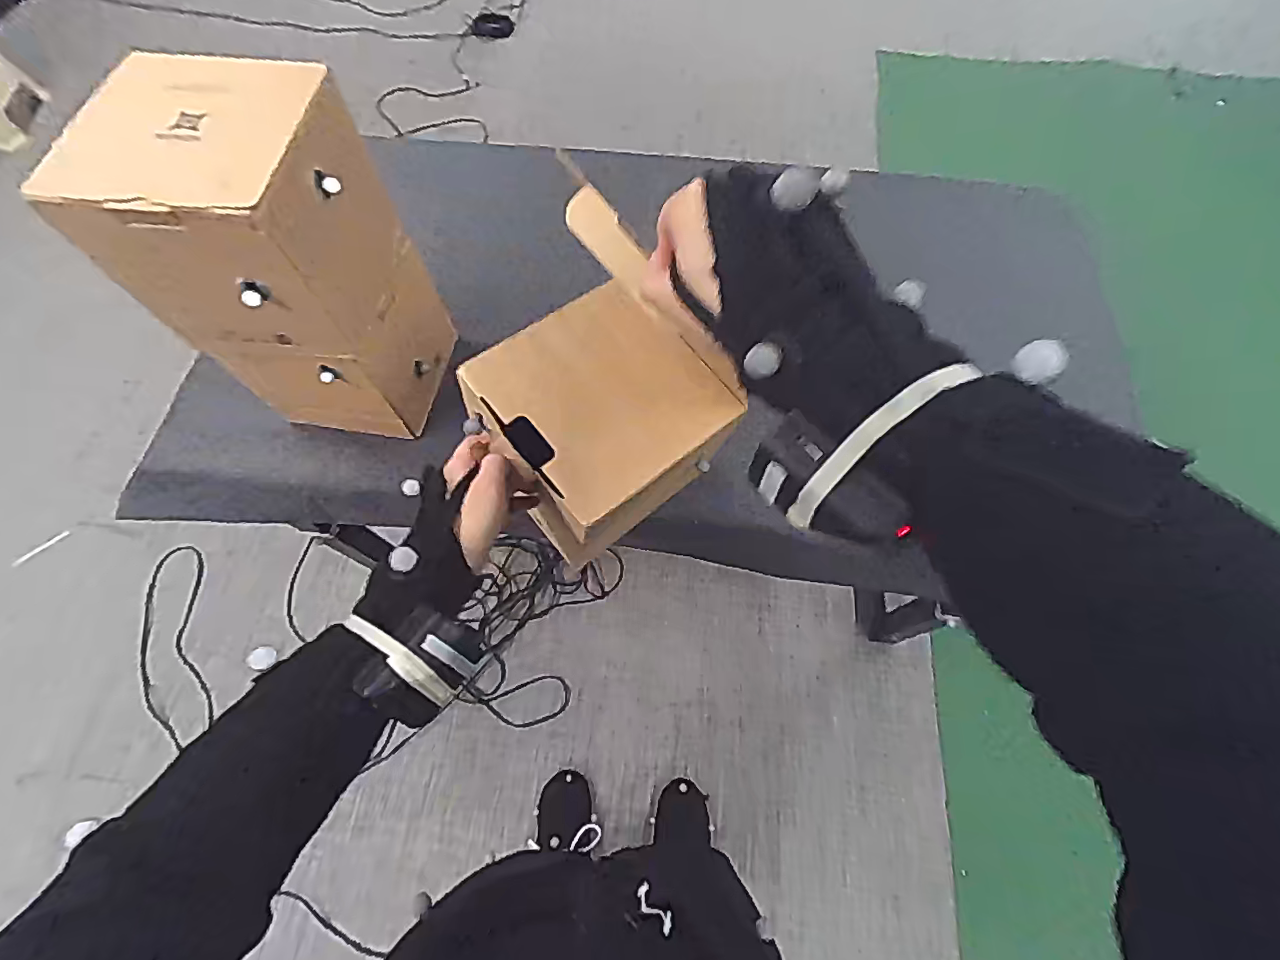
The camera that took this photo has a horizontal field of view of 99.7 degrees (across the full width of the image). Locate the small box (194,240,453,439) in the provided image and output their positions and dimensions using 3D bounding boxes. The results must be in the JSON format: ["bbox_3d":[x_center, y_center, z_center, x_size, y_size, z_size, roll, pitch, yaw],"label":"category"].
[{"bbox_3d":[-0.347,-0.163,0.632,0.179,0.176,0.168,8,65,4],"label":"small box"}]

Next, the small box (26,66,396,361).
[{"bbox_3d":[-0.343,-0.226,0.483,0.168,0.176,0.179,4,64,0],"label":"small box"}]
